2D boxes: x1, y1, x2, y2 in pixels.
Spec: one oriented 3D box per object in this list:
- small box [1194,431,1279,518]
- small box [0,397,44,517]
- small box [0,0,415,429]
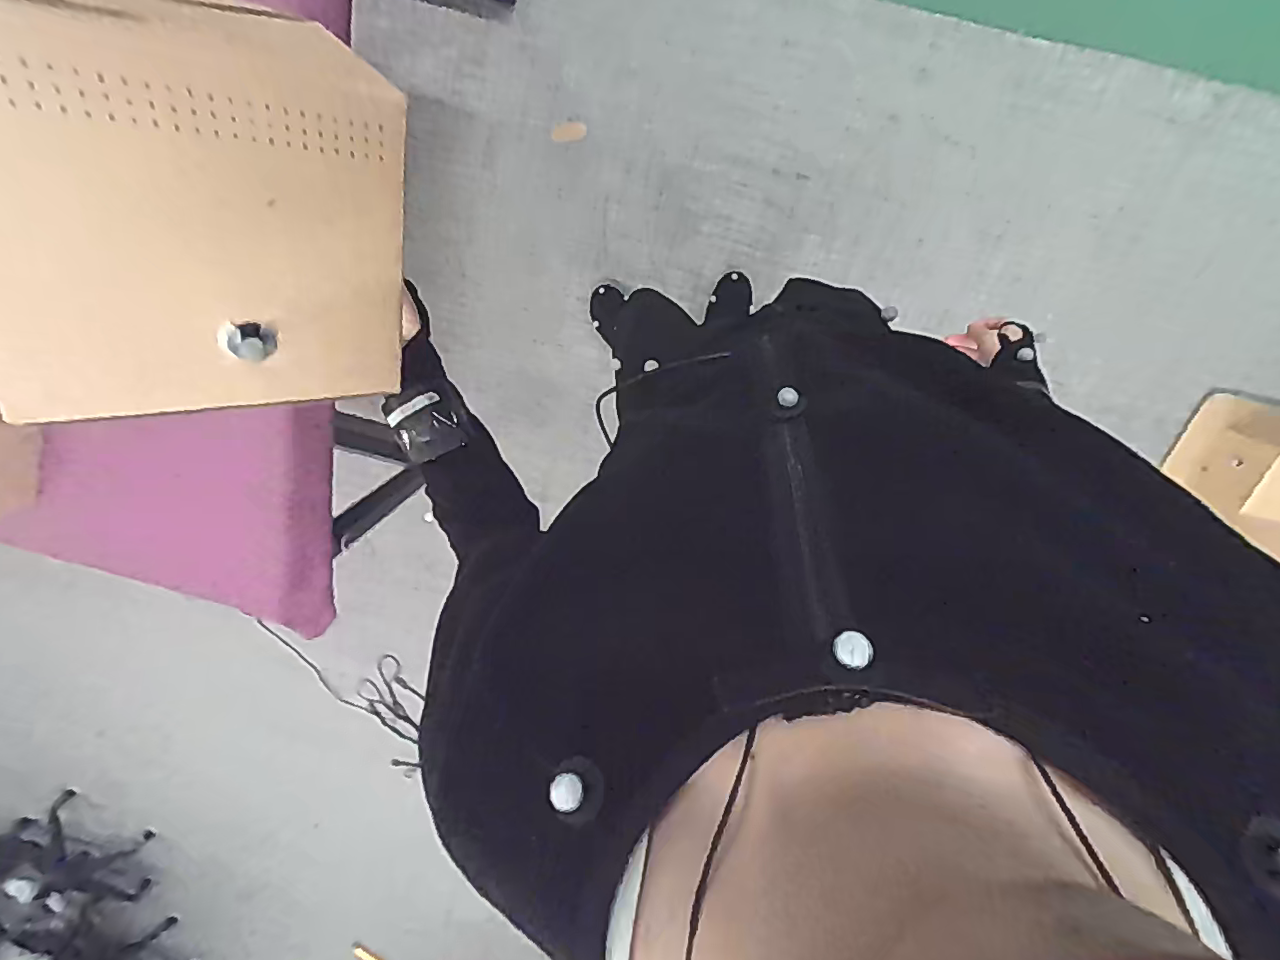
[{"bbox_3d":[1.527,-0.011,1.306,0.179,0.176,0.168,12,112,0],"label":"small box"},{"bbox_3d":[-1.030,-0.032,0.779,0.168,0.176,0.179,26,110,-6],"label":"small box"},{"bbox_3d":[-0.233,-0.152,0.287,0.168,0.179,0.176,50,135,30],"label":"small box"}]
